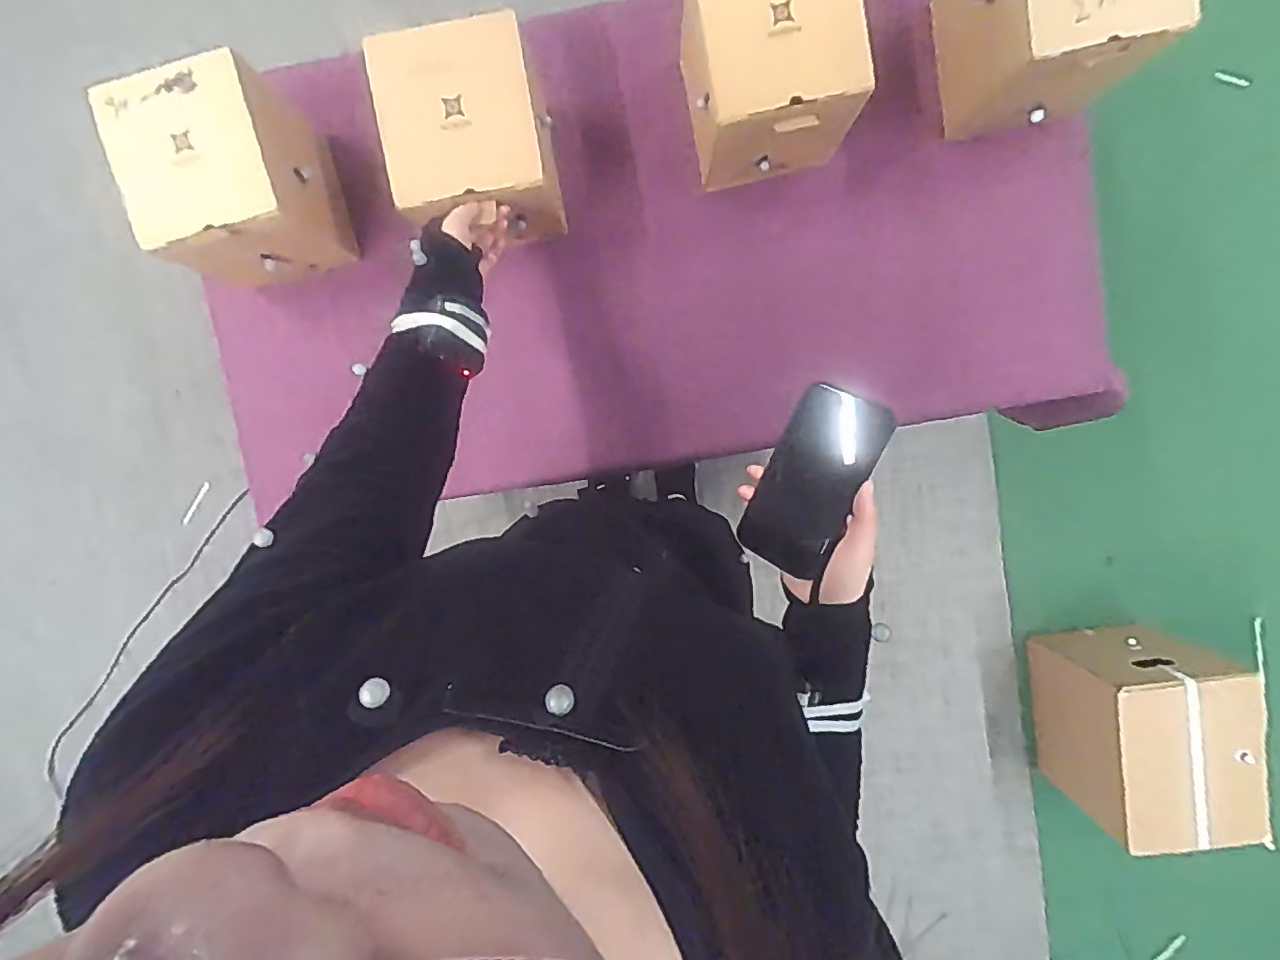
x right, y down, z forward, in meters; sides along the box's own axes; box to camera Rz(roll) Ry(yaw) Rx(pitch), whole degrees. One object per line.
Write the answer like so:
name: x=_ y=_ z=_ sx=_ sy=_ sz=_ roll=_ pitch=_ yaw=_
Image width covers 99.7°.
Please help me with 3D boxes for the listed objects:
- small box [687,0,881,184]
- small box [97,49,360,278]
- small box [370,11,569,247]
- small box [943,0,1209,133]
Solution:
small box: x=0.152 y=-0.482 z=0.627 sx=0.168 sy=0.176 sz=0.179 roll=-12 pitch=96 yaw=3
small box: x=-0.478 y=-0.362 z=0.661 sx=0.168 sy=0.176 sz=0.179 roll=-14 pitch=96 yaw=3
small box: x=-0.187 y=-0.396 z=0.648 sx=0.168 sy=0.176 sz=0.179 roll=-9 pitch=96 yaw=2
small box: x=0.466 y=-0.533 z=0.605 sx=0.168 sy=0.176 sz=0.179 roll=-9 pitch=96 yaw=4
